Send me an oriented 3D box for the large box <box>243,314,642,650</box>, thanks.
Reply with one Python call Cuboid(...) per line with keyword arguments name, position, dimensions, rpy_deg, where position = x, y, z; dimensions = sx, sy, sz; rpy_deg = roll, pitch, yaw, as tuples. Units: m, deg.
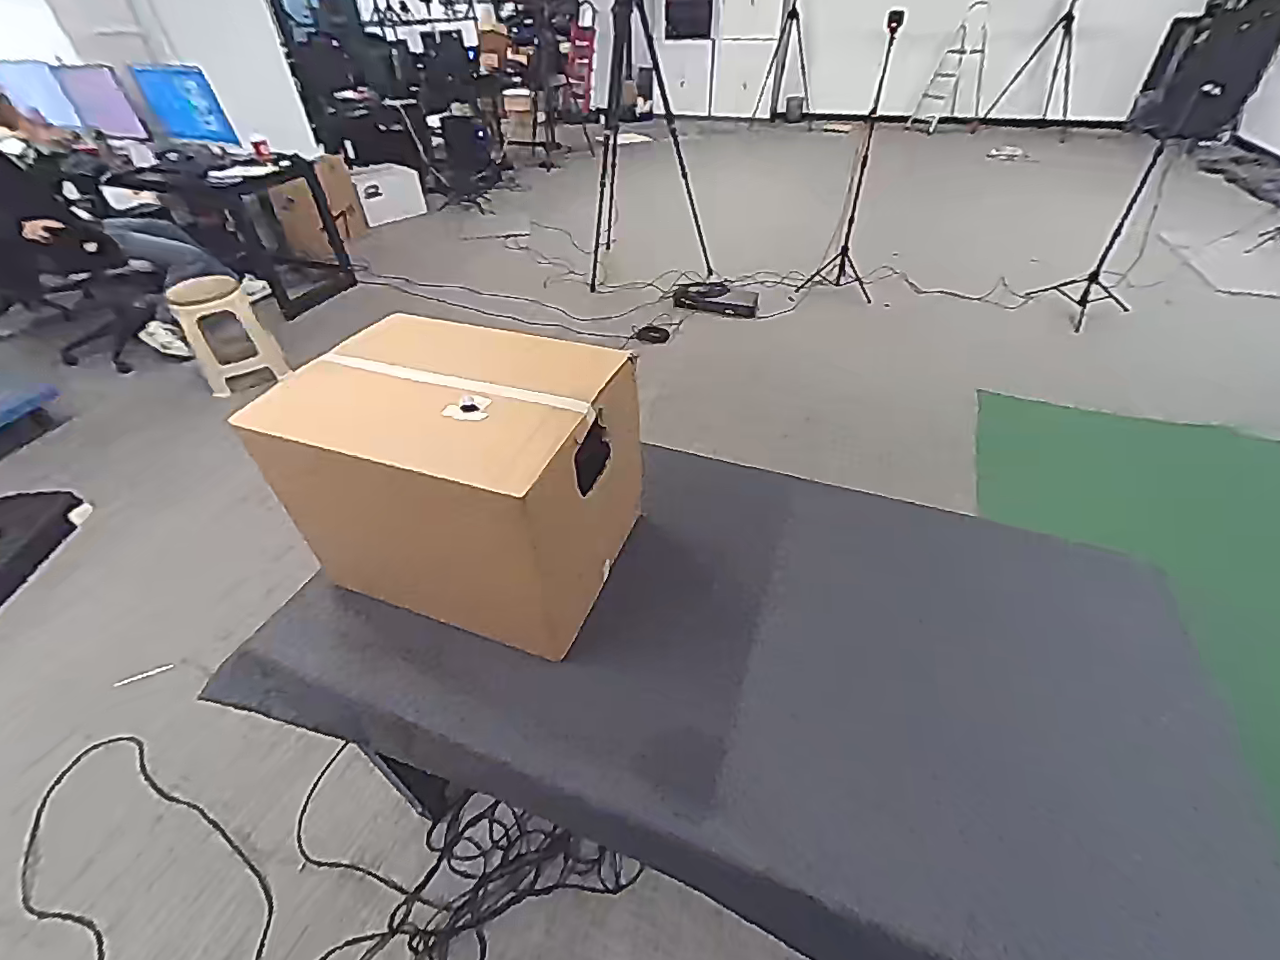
Cuboid(name="large box", position=(-0.235, -0.011, 0.791), dimensions=(0.408, 0.320, 0.320), rpy_deg=(14, 44, 15))
